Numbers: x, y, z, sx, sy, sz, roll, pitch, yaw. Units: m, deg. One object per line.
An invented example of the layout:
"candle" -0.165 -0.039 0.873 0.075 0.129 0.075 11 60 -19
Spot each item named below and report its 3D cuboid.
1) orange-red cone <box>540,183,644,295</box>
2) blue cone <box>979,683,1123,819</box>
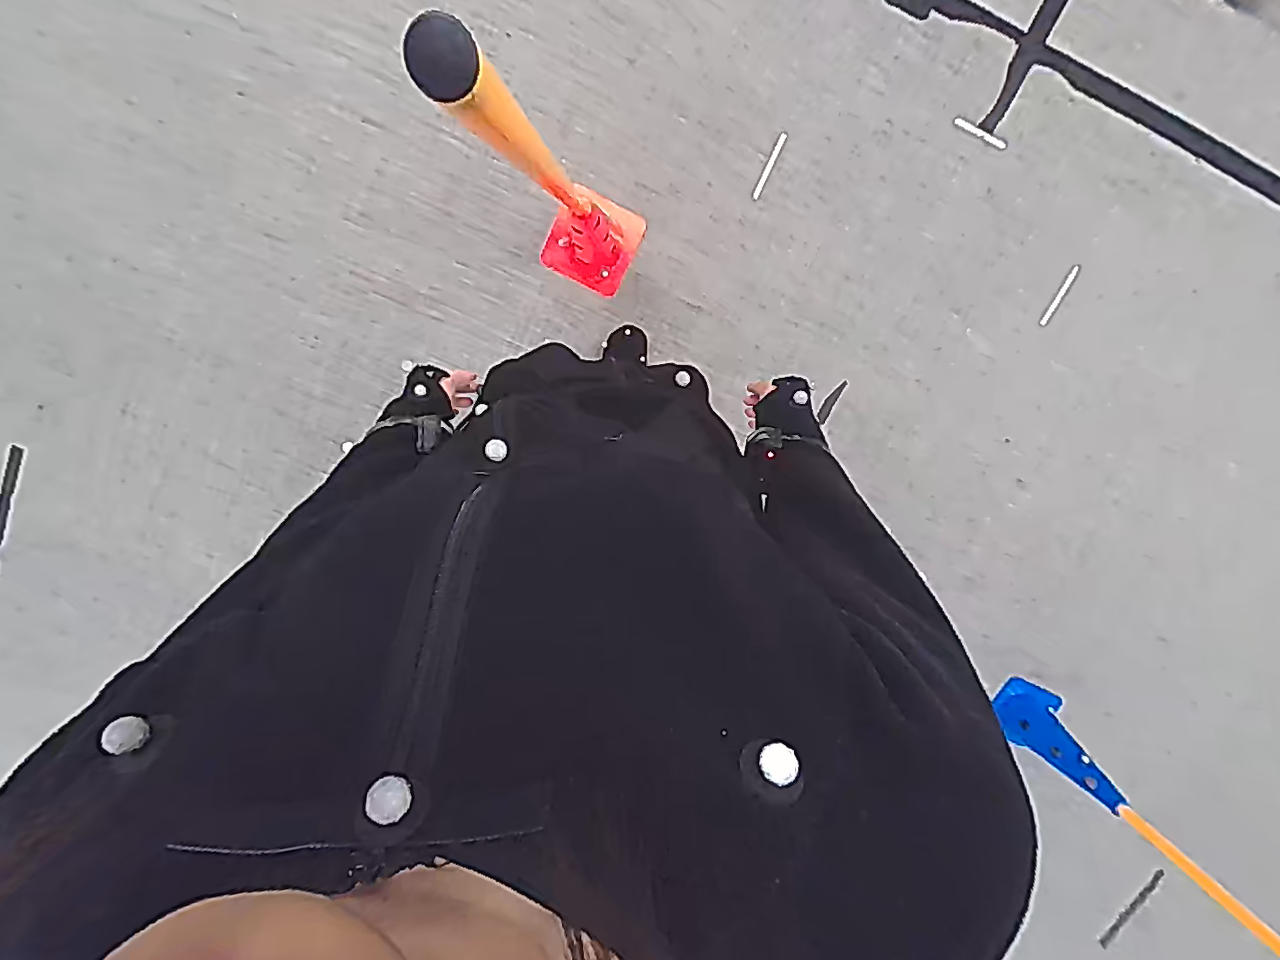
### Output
"orange-red cone" -0.107 -0.521 1.103 0.198 0.360 0.199 27 102 -9
"blue cone" 1.164 0.759 1.498 0.193 0.380 0.192 27 103 -8
